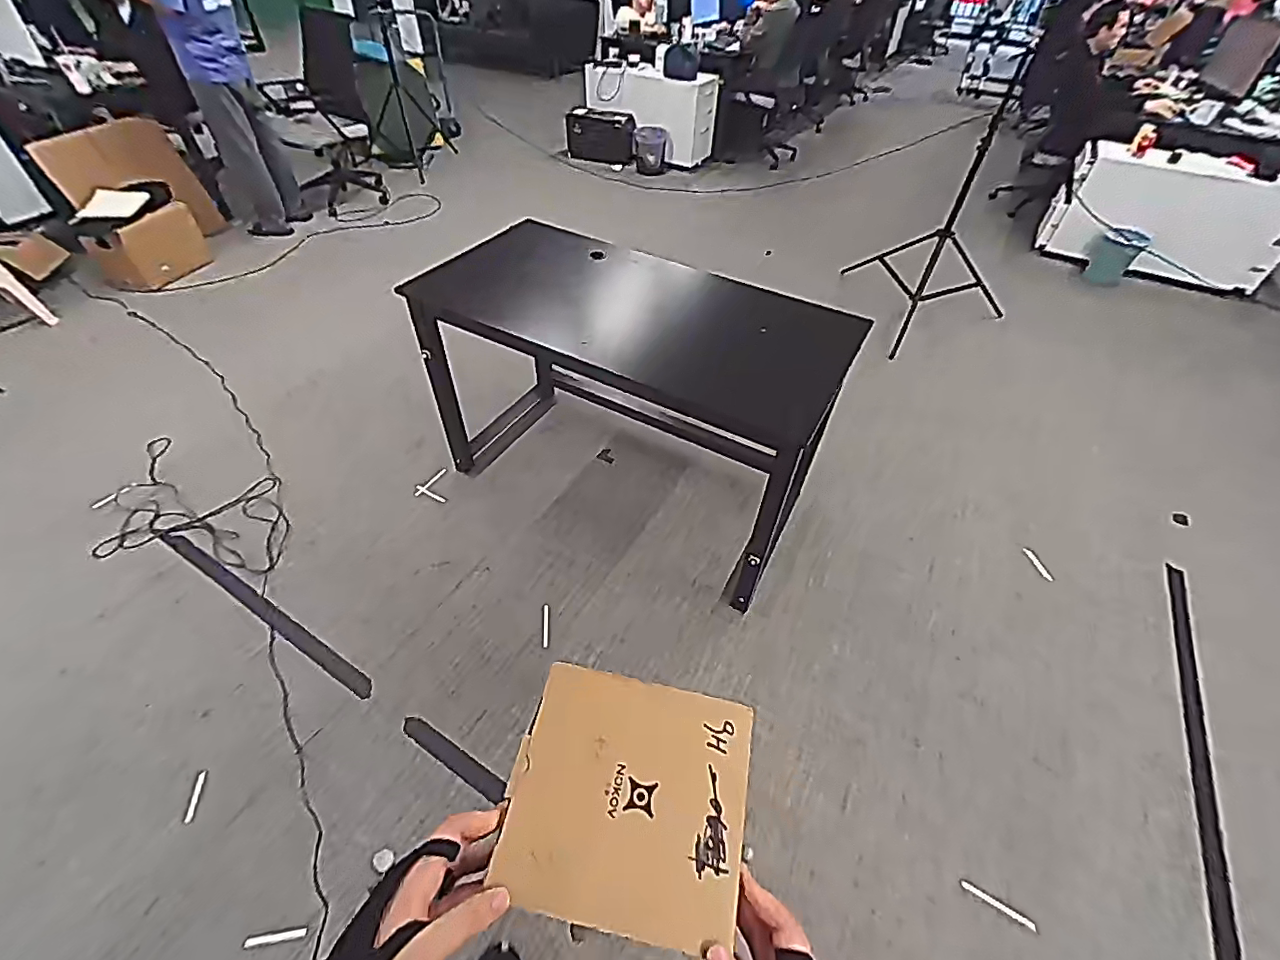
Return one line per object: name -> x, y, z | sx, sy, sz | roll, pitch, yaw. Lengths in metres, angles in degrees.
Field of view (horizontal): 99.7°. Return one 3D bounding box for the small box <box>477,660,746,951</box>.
small box -> -0.015, 0.281, 0.474 | 0.179, 0.176, 0.168 | 11, 54, 5
